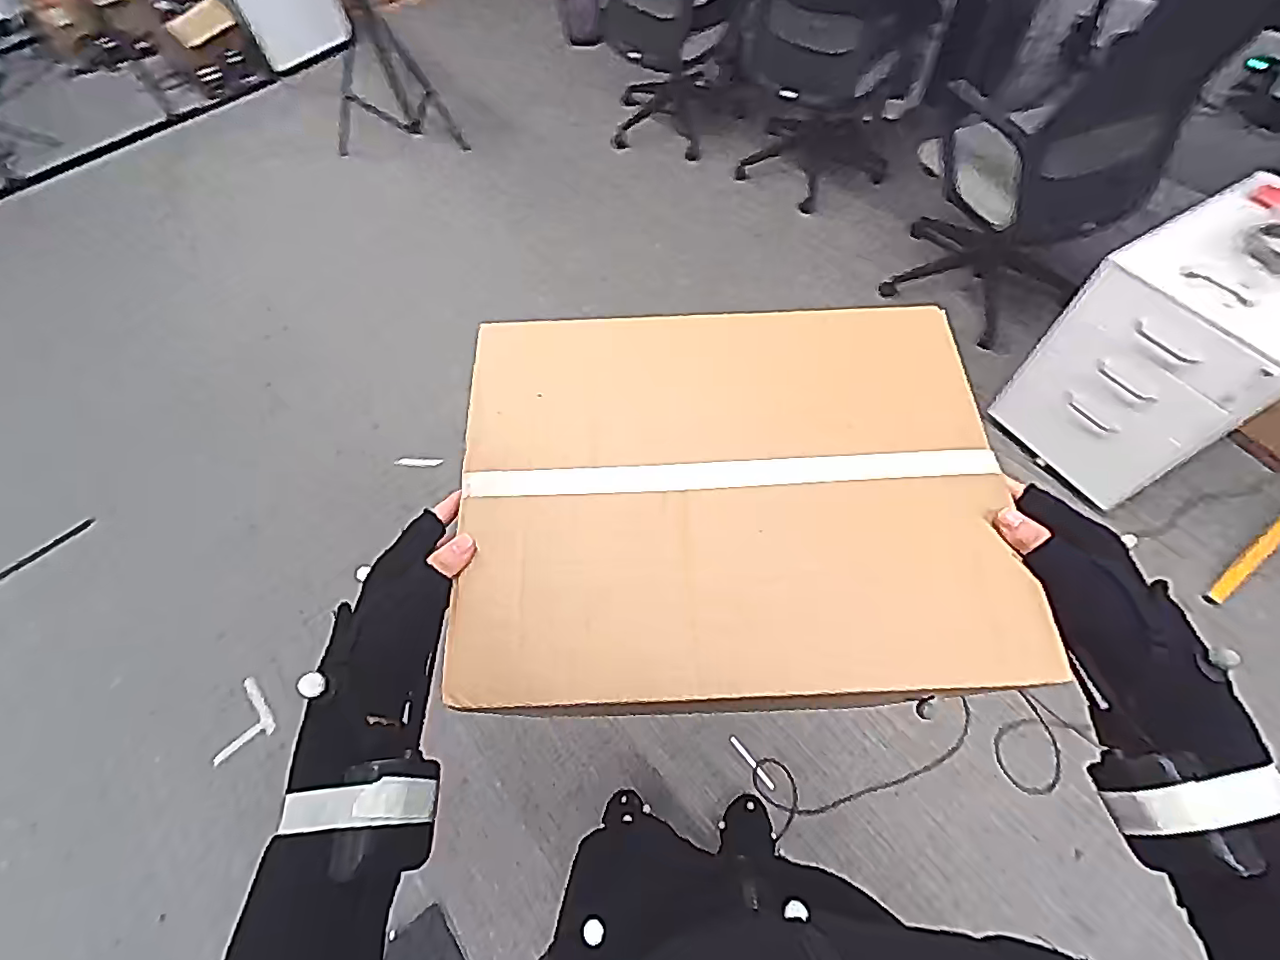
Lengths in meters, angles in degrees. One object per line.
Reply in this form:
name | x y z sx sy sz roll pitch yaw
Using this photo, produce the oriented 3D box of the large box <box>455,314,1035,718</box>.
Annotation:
large box | 0.067 0.064 0.559 0.408 0.320 0.320 -4 65 0
